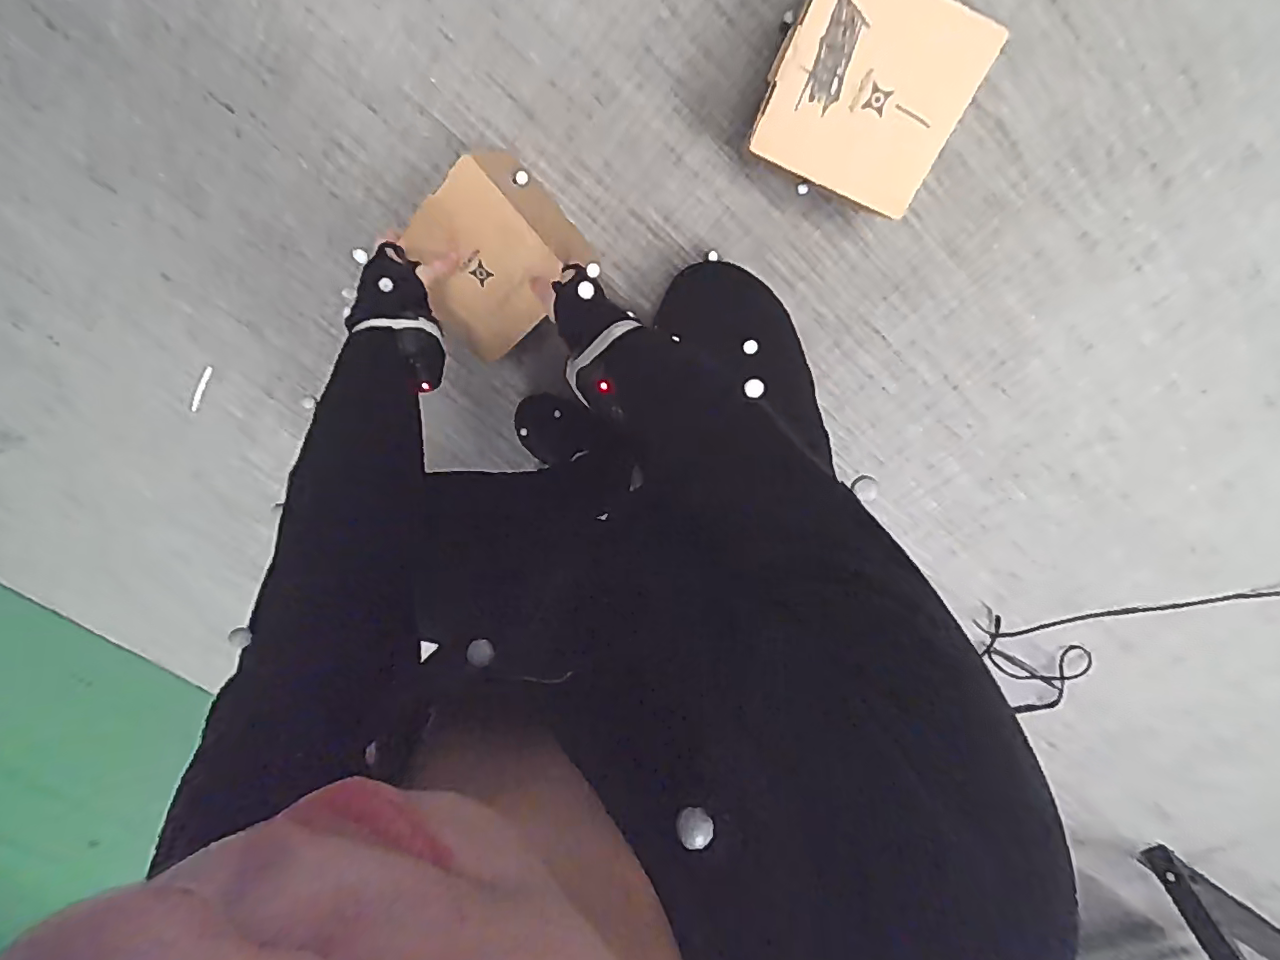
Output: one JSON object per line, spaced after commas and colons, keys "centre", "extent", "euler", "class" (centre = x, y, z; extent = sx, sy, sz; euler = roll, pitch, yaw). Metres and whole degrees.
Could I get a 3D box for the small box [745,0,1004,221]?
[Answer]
{"centre": [0.225, -0.400, 0.581], "extent": [0.179, 0.176, 0.168], "euler": [22, 120, -5], "class": "small box"}
